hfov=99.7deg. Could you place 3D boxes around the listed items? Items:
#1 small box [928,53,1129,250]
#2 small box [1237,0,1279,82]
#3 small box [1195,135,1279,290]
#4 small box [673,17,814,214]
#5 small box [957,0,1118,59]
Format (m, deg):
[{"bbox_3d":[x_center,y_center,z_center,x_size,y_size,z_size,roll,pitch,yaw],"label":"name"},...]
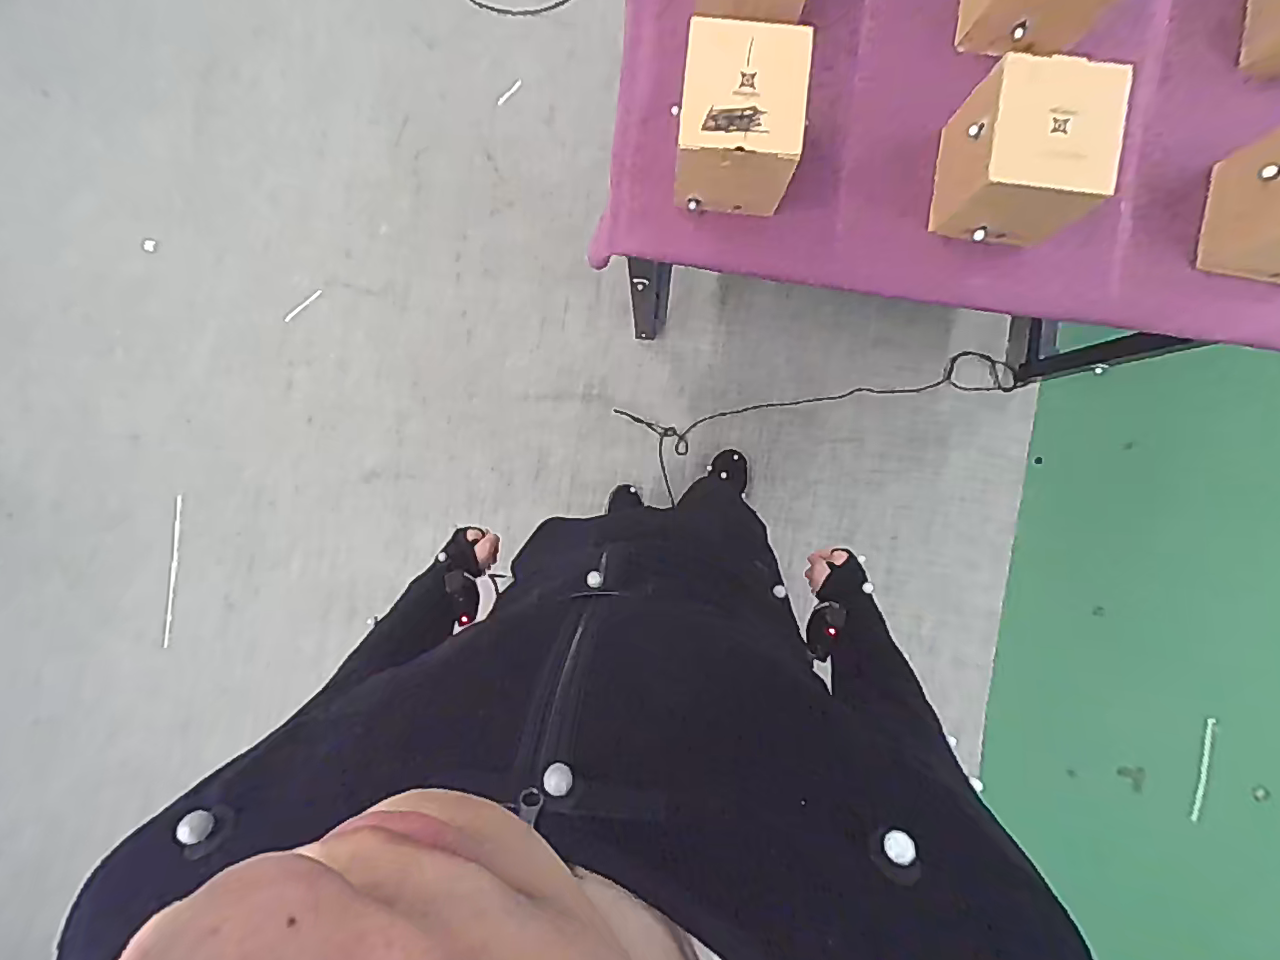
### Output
[{"bbox_3d":[0.552,-0.466,0.792,0.168,0.176,0.179,9,91,1],"label":"small box"},{"bbox_3d":[1.033,-0.715,0.777,0.168,0.176,0.179,7,92,3],"label":"small box"},{"bbox_3d":[0.977,-0.403,0.787,0.168,0.176,0.179,10,89,2],"label":"small box"},{"bbox_3d":[0.140,-0.516,0.791,0.168,0.176,0.179,6,90,0],"label":"small box"},{"bbox_3d":[0.593,-0.761,0.785,0.168,0.176,0.179,6,93,0],"label":"small box"}]
